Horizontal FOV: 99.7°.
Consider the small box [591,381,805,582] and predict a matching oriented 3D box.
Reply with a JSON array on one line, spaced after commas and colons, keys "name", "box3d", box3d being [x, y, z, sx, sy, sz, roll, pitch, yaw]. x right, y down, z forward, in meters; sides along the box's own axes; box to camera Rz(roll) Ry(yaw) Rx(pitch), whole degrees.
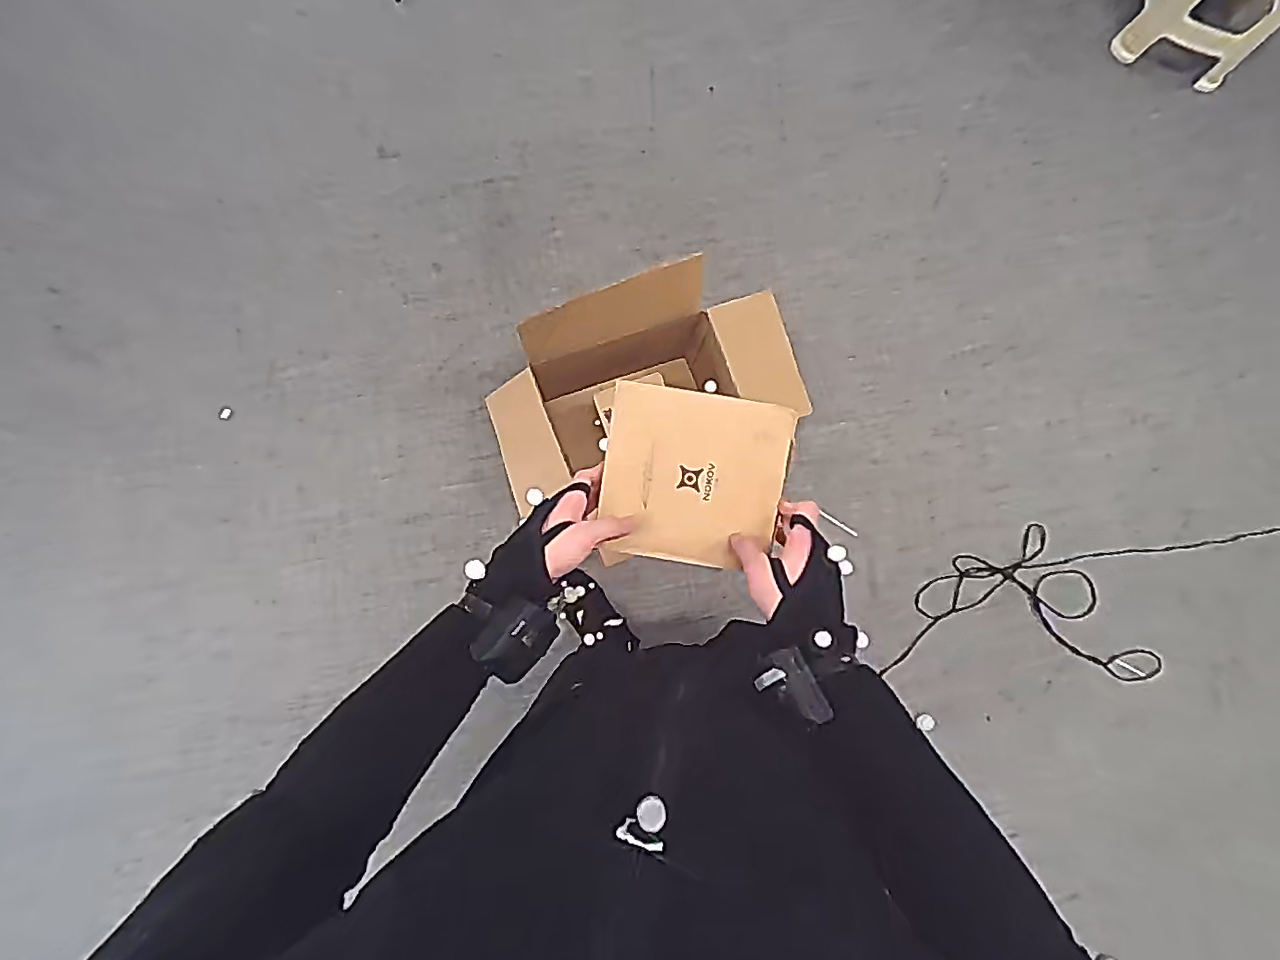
[{"name": "small box", "box3d": [0.053, -0.004, 0.583, 0.179, 0.176, 0.168, 11, 94, 0]}]
